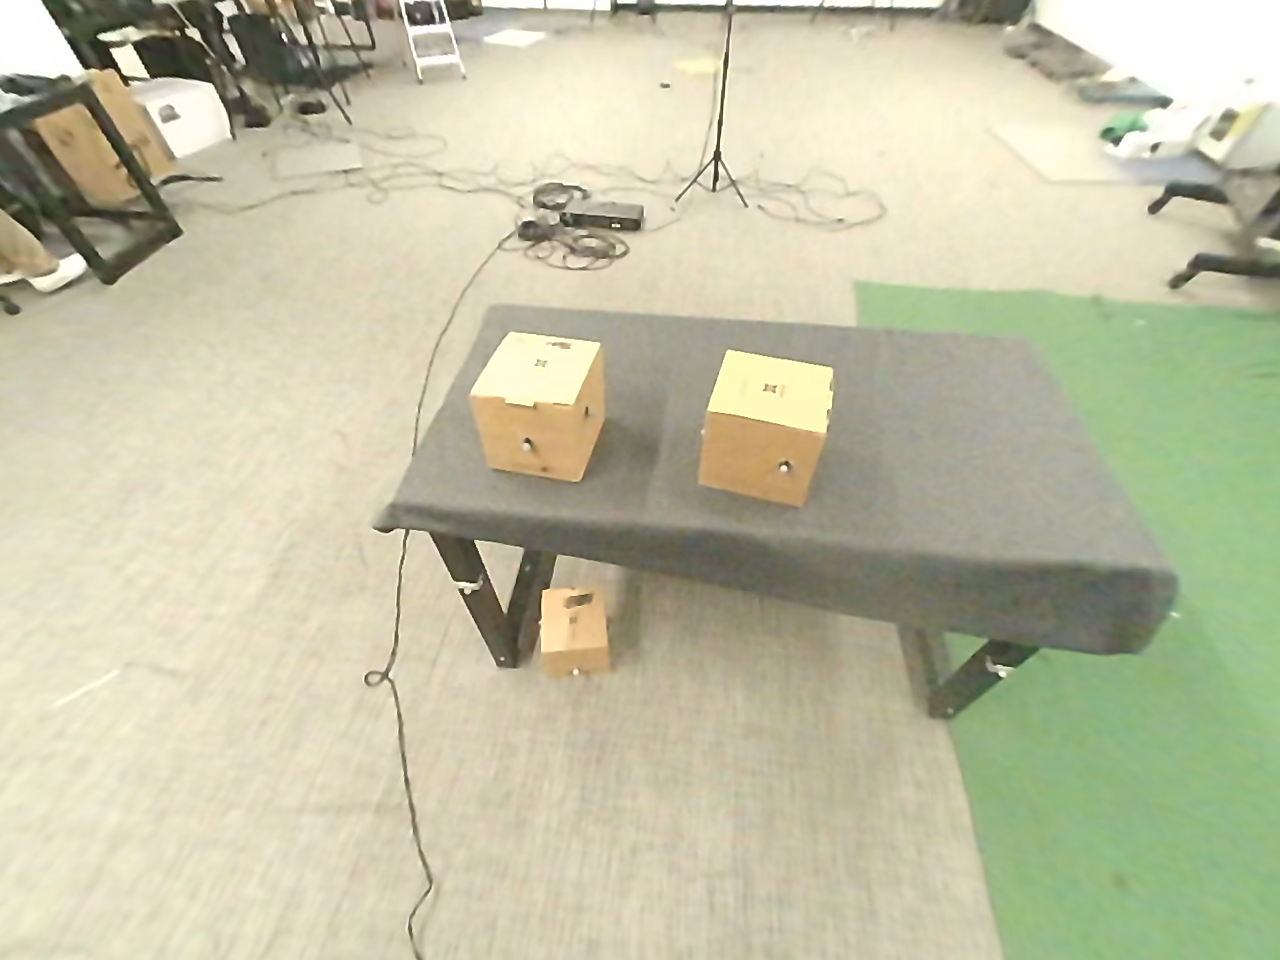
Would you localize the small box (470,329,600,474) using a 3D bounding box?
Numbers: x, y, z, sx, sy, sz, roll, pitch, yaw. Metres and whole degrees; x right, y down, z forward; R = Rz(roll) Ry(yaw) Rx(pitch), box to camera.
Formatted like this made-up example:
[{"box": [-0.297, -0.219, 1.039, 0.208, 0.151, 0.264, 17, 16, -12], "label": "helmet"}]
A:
[{"box": [-0.166, -0.131, 0.926, 0.168, 0.176, 0.179, 9, 49, 6], "label": "small box"}]

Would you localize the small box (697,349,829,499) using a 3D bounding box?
[{"box": [0.200, -0.090, 0.898, 0.179, 0.176, 0.168, 12, 48, 11], "label": "small box"}]
